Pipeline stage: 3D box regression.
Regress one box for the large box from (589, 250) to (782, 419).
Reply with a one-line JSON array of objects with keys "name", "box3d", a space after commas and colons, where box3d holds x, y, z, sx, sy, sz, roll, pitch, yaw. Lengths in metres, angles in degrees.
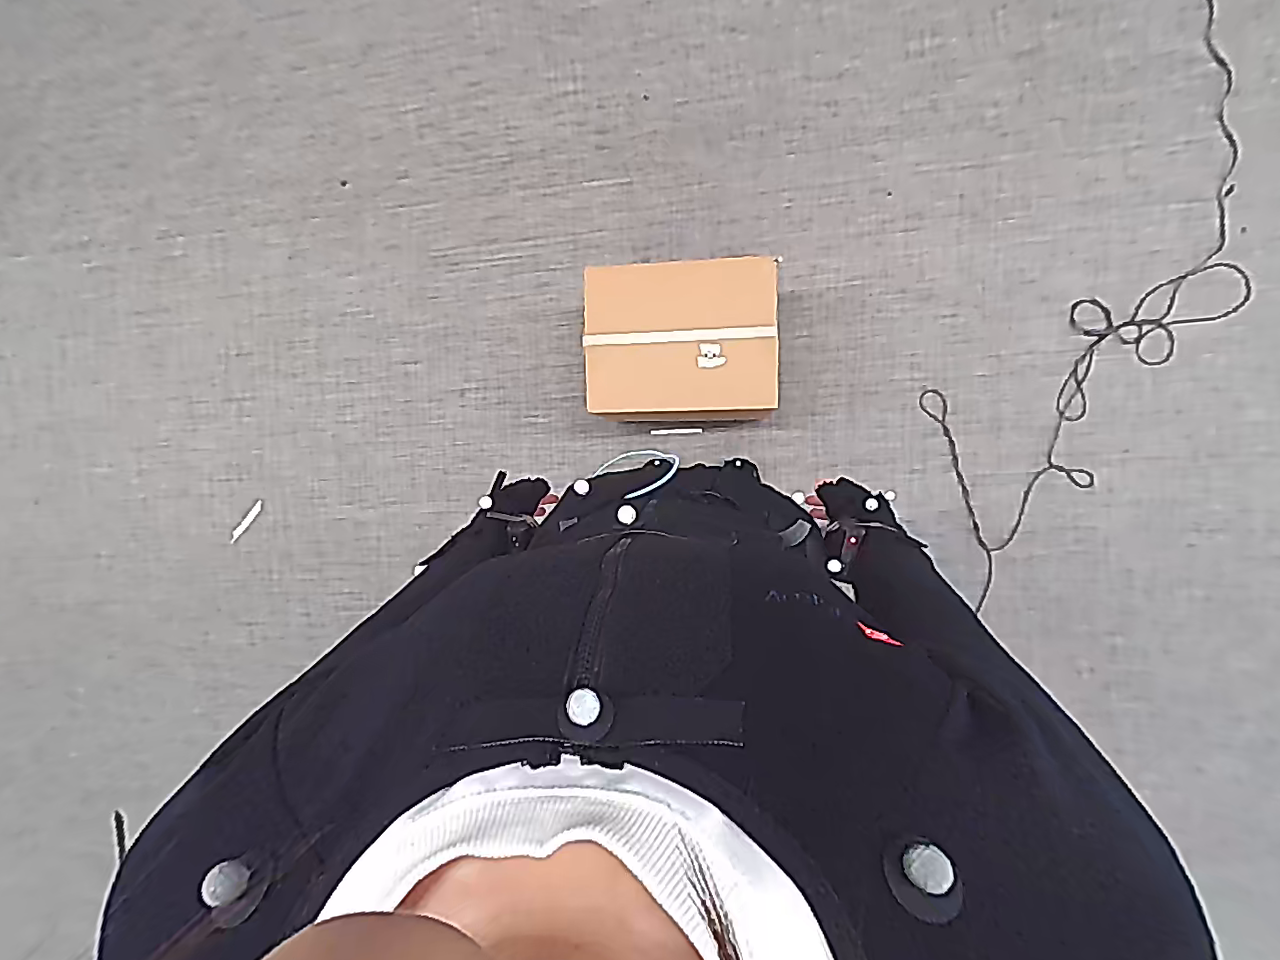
[{"name": "large box", "box3d": [0.109, -0.317, 1.280, 0.408, 0.320, 0.320, -1, 93, 7]}]
